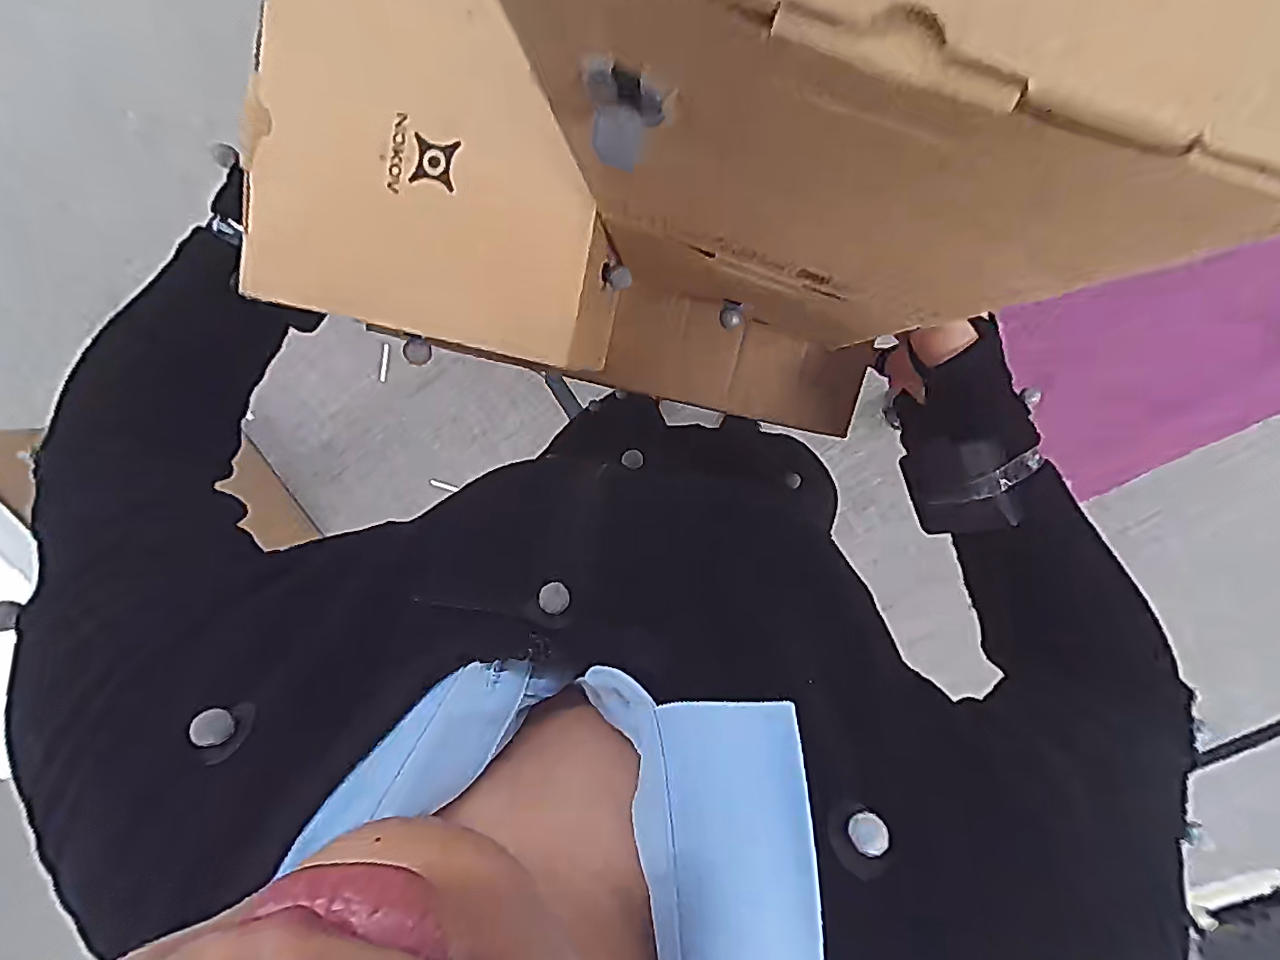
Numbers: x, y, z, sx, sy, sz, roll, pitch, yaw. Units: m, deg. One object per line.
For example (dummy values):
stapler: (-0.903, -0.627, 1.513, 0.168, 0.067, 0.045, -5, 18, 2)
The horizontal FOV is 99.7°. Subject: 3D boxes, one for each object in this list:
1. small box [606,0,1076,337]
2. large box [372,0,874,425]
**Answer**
small box: (0.092, -0.196, 0.310, 0.168, 0.176, 0.179, 20, 101, 1)
large box: (0.013, -0.254, 0.556, 0.408, 0.320, 0.320, 13, 100, 2)
